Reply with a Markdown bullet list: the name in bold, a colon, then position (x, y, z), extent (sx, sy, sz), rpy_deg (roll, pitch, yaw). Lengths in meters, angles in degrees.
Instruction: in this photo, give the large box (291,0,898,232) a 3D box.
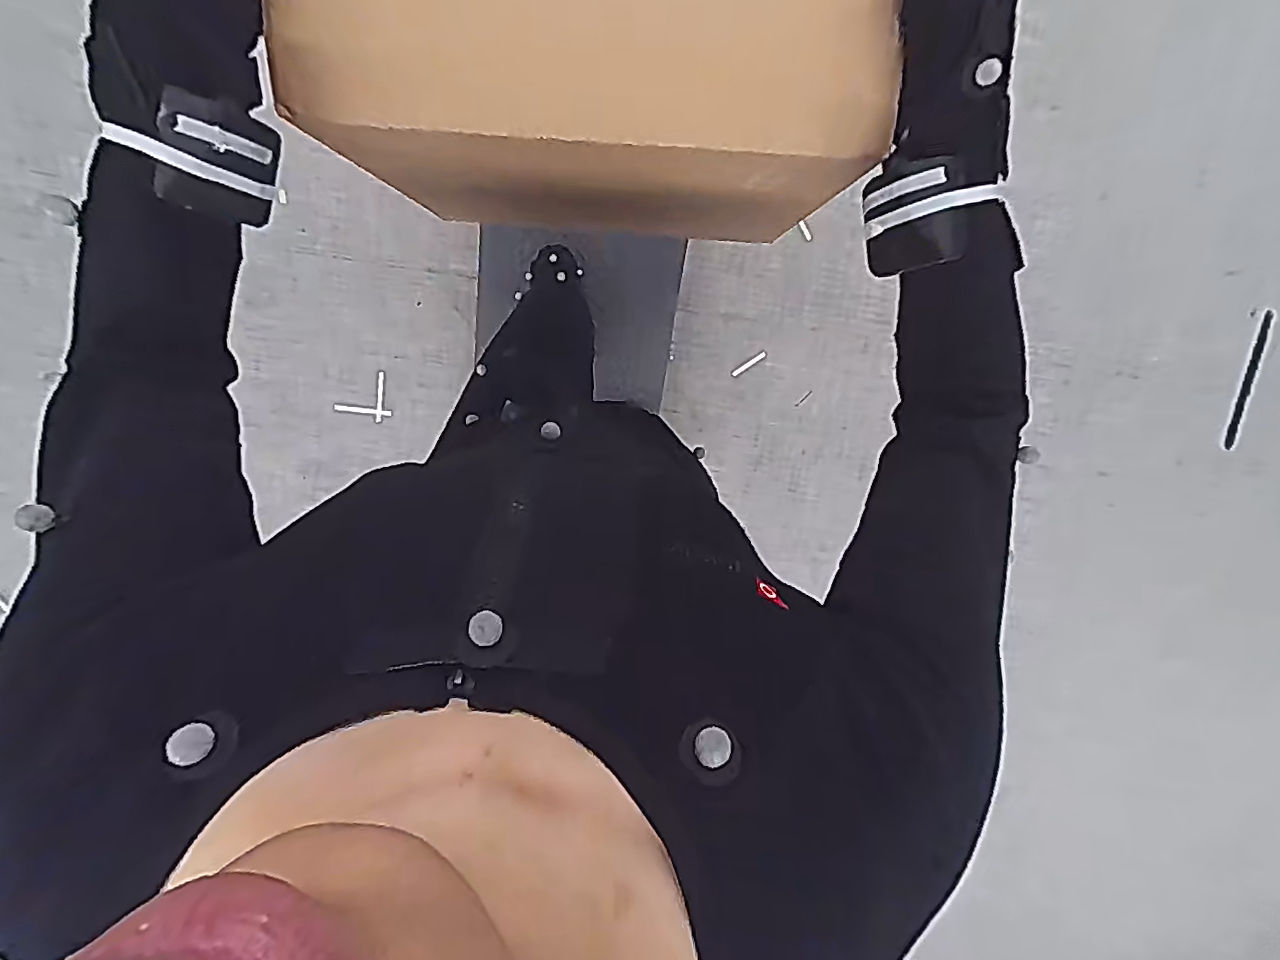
- **large box**: position (-0.028, -0.423, 0.479), extent (0.408, 0.320, 0.320), rpy_deg (3, 104, -2)
